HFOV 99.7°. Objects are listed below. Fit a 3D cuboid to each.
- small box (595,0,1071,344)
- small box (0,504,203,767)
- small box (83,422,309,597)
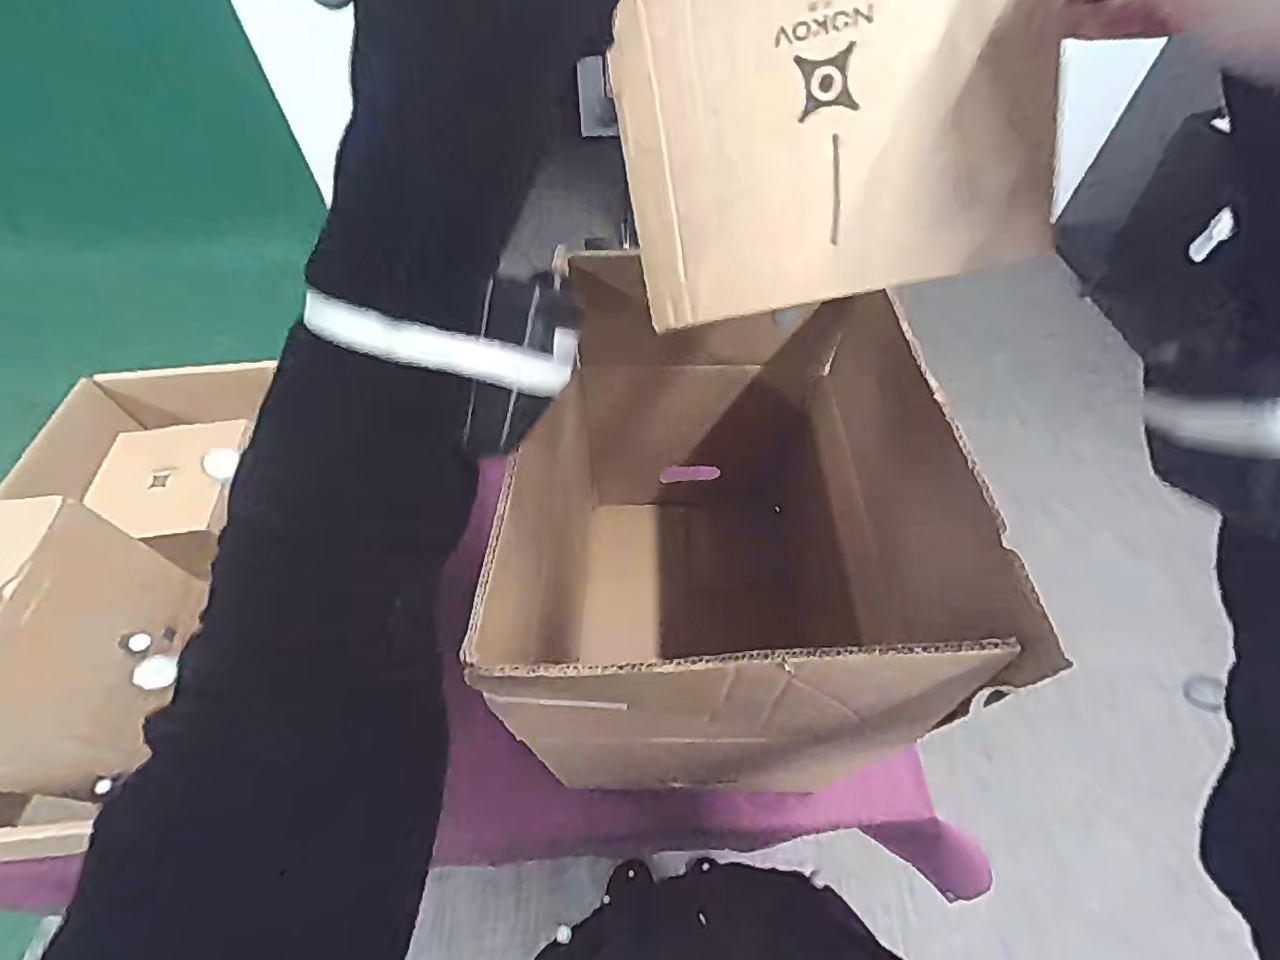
[{"bbox_3d":[0.076,-0.178,0.275,0.168,0.179,0.176,-9,19,9],"label":"small box"},{"bbox_3d":[-0.540,0.140,0.459,0.179,0.176,0.168,-5,54,-2],"label":"small box"},{"bbox_3d":[-0.586,0.049,0.733,0.168,0.176,0.179,-8,54,-3],"label":"small box"}]
